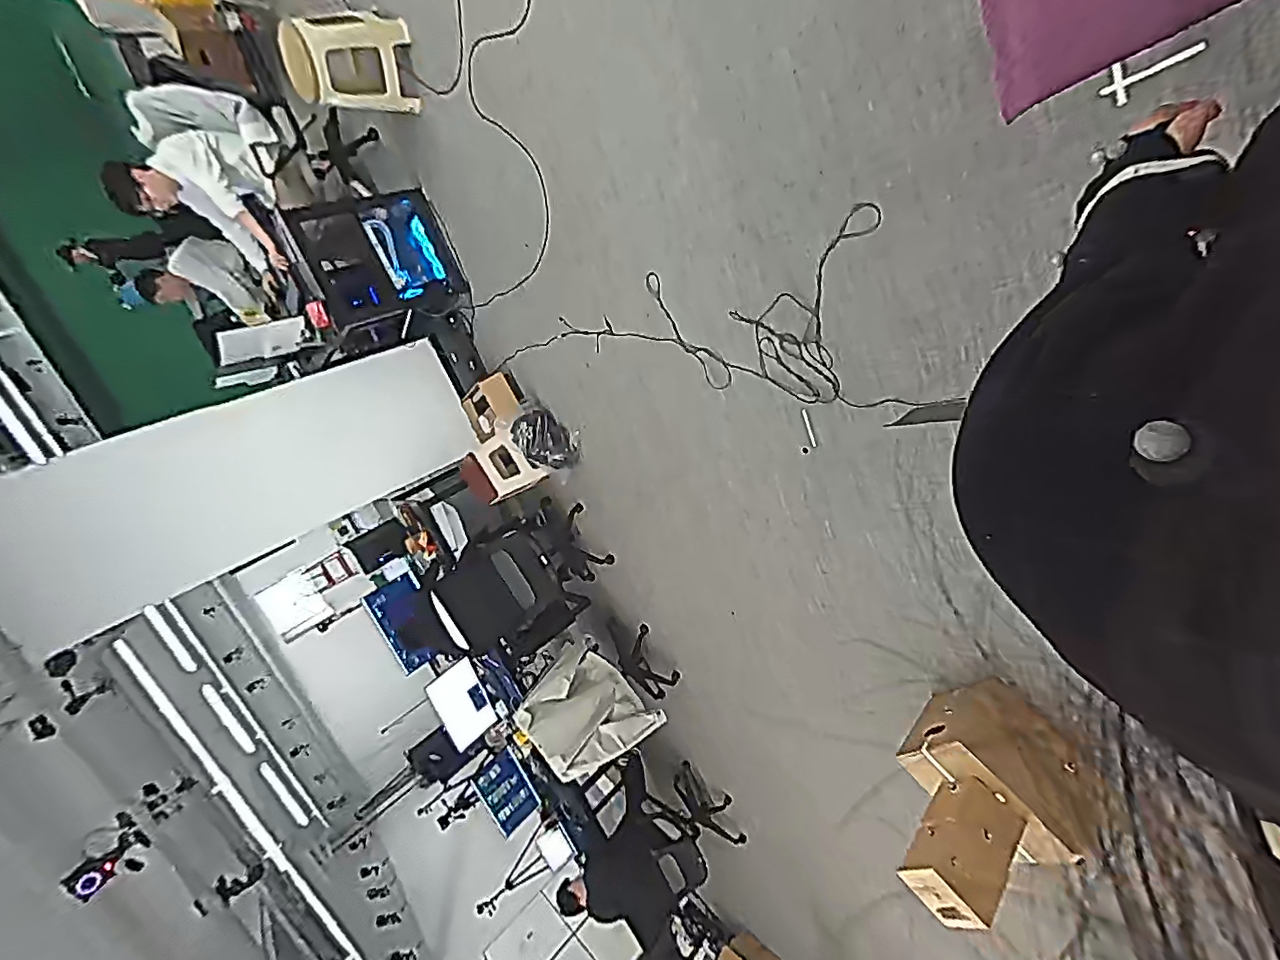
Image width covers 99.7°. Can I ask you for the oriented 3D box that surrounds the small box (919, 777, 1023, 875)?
[{"bbox_3d":[0.980,1.023,1.599,0.179,0.176,0.168,46,144,20],"label":"small box"}]
